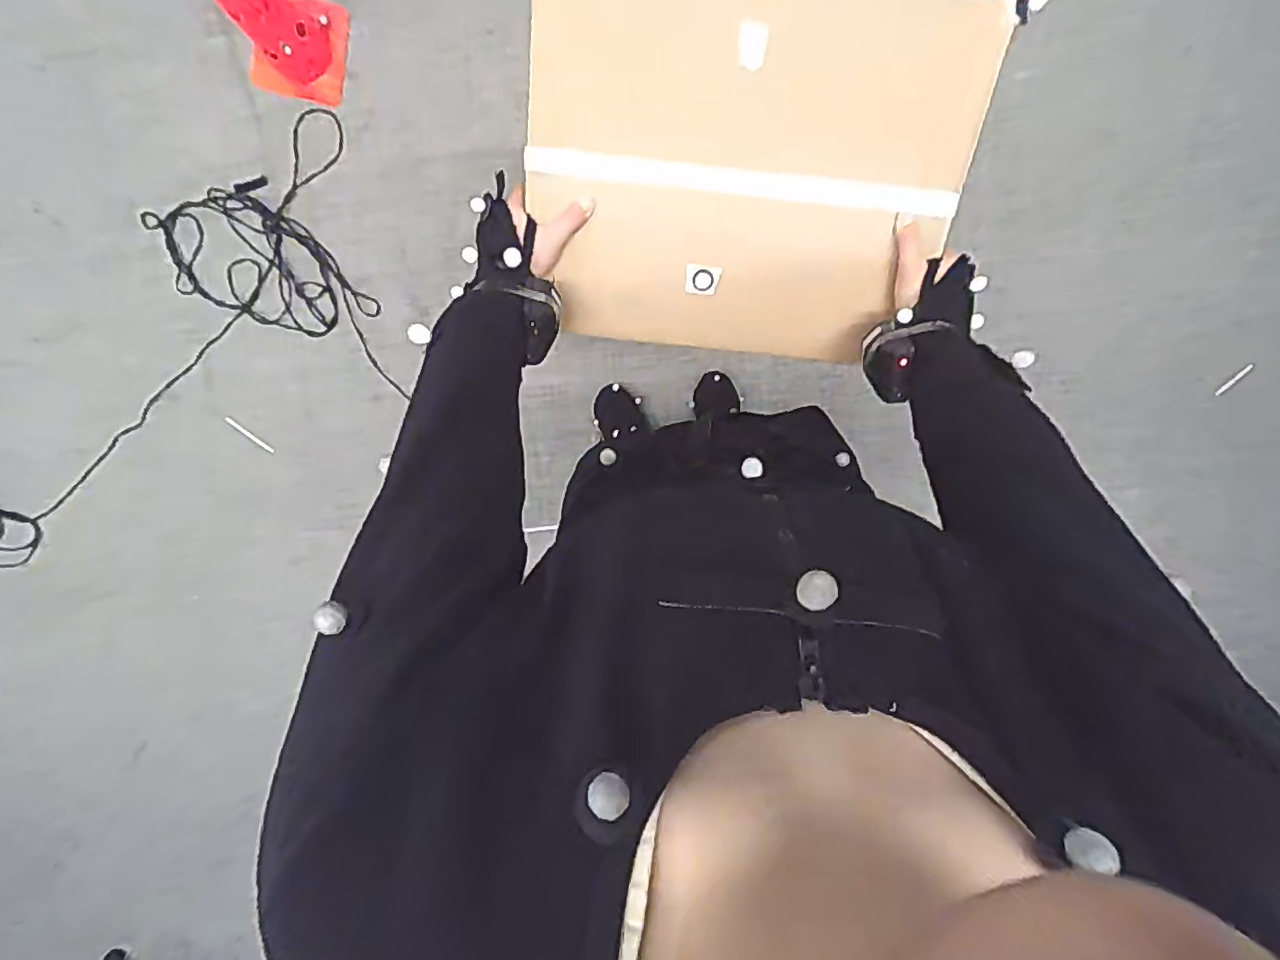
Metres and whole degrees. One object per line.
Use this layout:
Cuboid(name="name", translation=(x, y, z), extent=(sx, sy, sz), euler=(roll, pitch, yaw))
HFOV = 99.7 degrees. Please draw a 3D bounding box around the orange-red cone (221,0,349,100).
Cuboid(name="orange-red cone", translation=(-0.750, -0.921, 1.007), extent=(0.199, 0.360, 0.198), euler=(15, 100, 1))
